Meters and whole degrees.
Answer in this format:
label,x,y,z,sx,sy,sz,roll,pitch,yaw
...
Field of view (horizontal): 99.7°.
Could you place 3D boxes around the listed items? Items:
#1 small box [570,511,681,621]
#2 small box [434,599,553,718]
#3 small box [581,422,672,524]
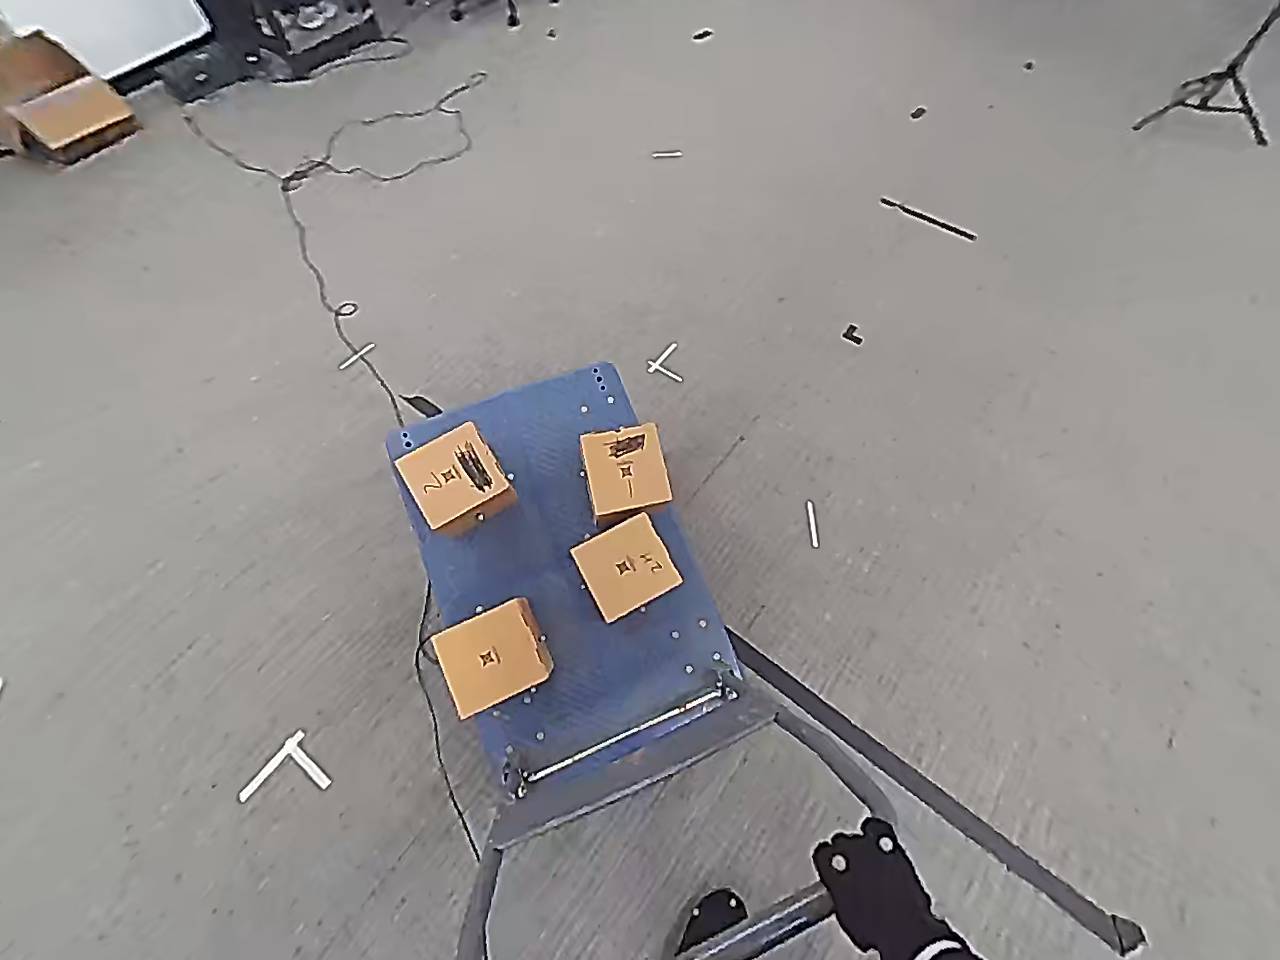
label,x,y,z,sx,sy,sz,roll,pitch,yaw
small box,-0.033,0.189,1.165,0.179,0.176,0.168,-28,82,-10
small box,-0.289,0.357,1.107,0.179,0.176,0.168,-24,81,-11
small box,-0.037,-0.010,1.207,0.168,0.176,0.179,-12,80,-7
